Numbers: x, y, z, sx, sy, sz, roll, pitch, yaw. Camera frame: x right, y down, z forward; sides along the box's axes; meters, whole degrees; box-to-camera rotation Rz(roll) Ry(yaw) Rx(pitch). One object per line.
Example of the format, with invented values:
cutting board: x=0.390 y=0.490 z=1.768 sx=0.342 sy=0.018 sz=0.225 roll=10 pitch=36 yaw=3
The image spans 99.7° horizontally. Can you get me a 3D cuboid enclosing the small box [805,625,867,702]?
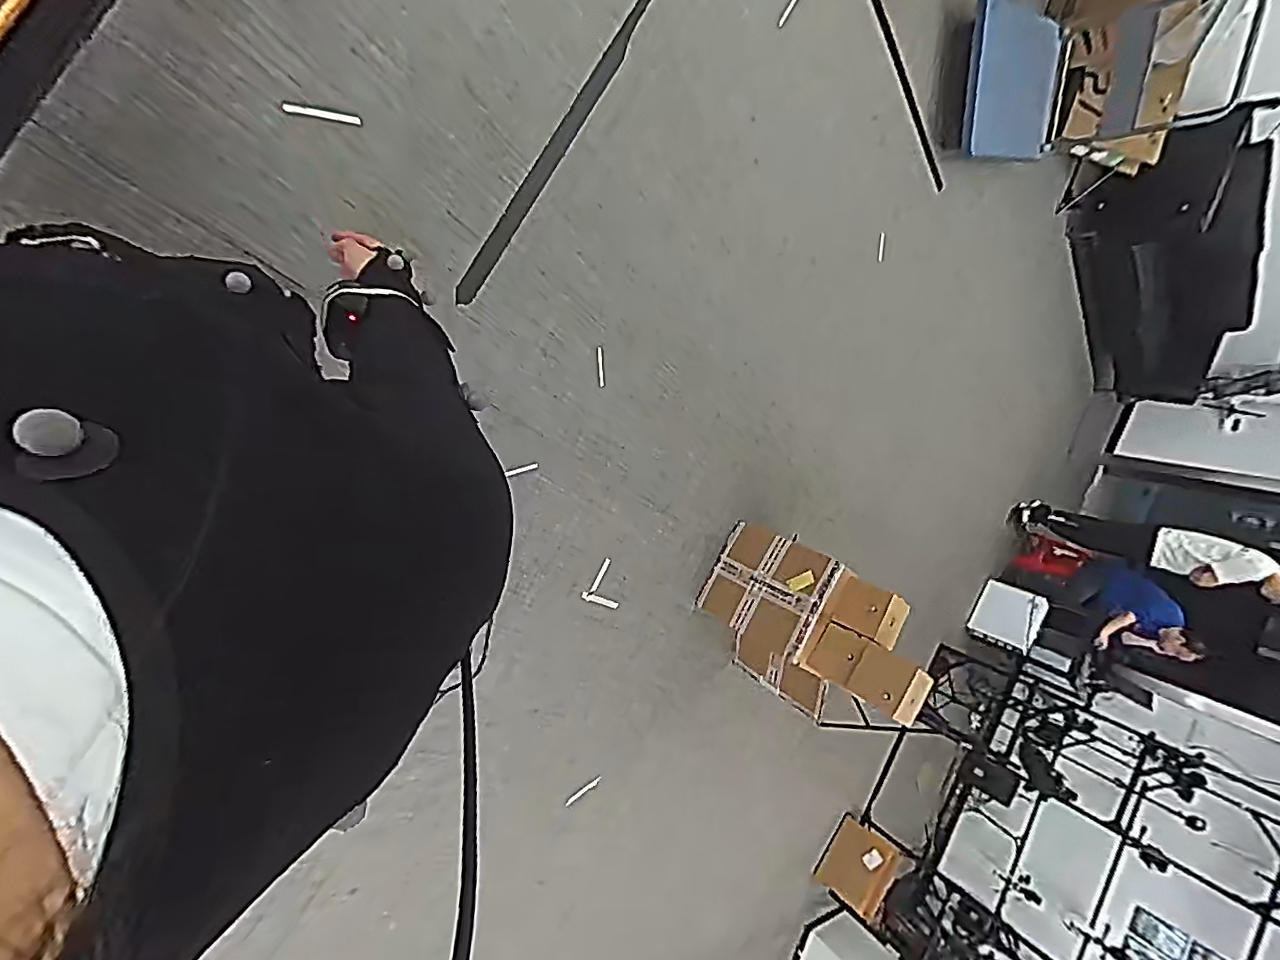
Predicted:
small box: x=0.709 y=0.636 z=1.893 sx=0.168 sy=0.176 sz=0.179 roll=41 pitch=79 yaw=-38

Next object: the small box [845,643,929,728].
small box: x=0.793 y=0.662 z=1.751 sx=0.168 sy=0.176 sz=0.179 roll=38 pitch=81 yaw=-39
